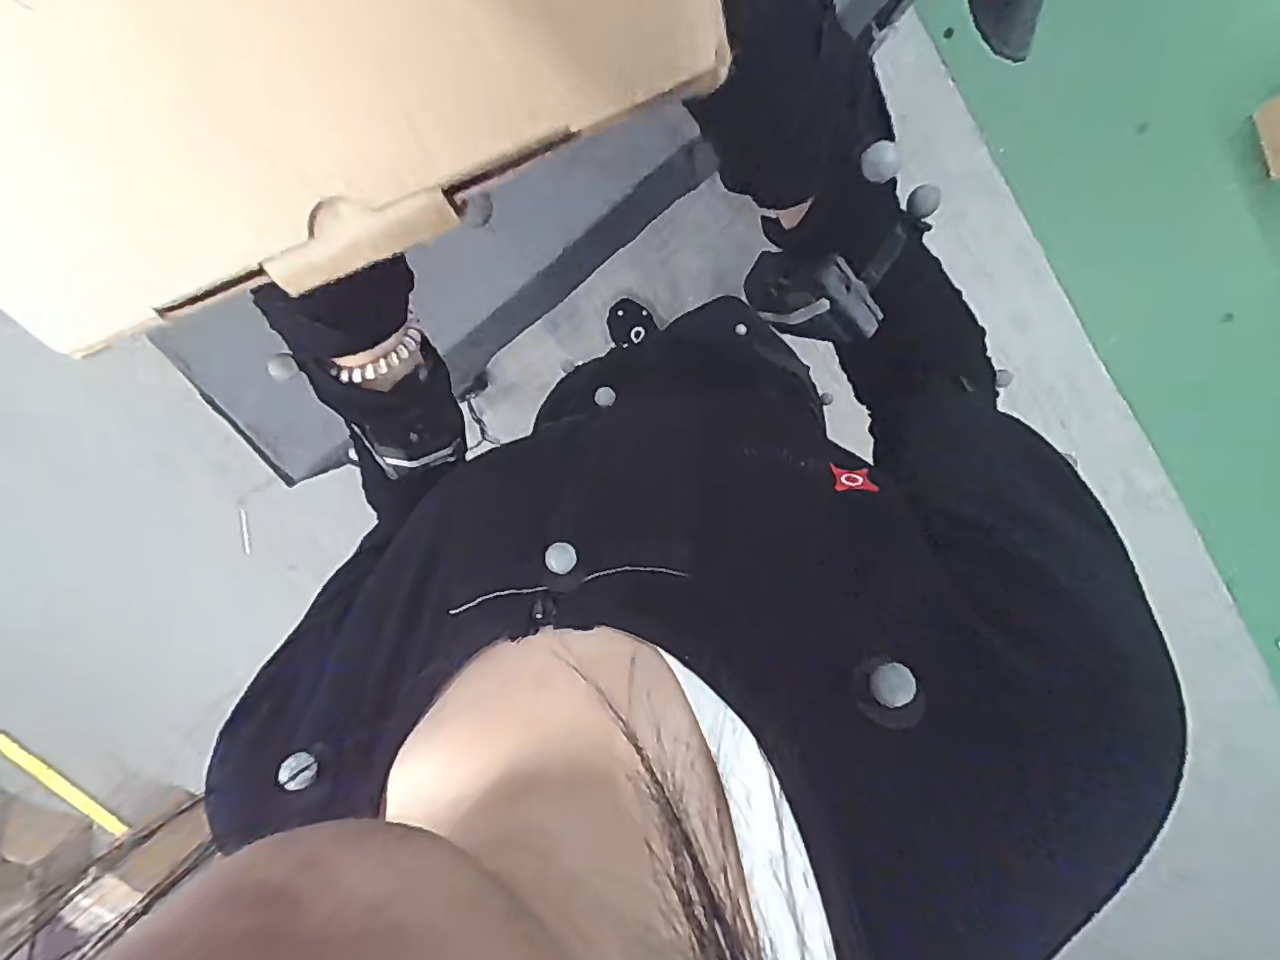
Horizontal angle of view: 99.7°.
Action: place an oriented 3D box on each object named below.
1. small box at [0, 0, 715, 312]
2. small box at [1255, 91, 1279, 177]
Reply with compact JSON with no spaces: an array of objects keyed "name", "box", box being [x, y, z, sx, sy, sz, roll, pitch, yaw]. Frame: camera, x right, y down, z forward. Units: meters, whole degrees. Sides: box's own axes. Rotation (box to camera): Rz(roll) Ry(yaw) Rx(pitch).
[{"name":"small box","box":[-0.088,-0.172,0.126,0.168,0.176,0.179,-15,127,10]},{"name":"small box","box":[1.426,-0.755,1.097,0.179,0.176,0.168,-30,102,12]}]
